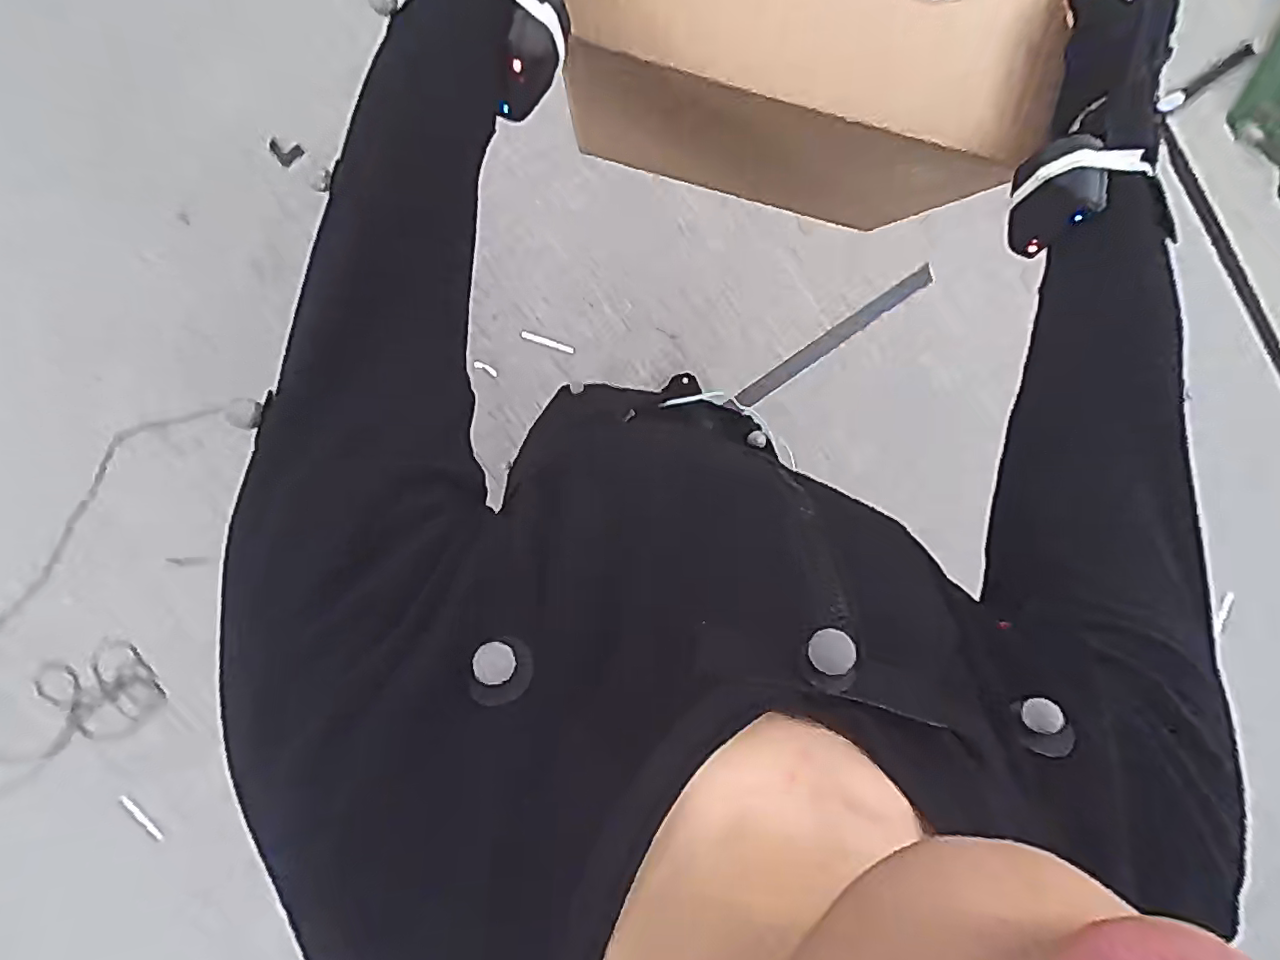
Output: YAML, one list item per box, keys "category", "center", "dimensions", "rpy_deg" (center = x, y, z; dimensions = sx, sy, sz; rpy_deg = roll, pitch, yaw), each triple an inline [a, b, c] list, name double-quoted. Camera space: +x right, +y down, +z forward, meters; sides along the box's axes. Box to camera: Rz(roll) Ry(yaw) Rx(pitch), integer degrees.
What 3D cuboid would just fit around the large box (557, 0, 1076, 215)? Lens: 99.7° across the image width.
- category: "large box"
  center: [0.147, -0.493, 0.534]
  dimensions: [0.408, 0.320, 0.320]
  rpy_deg: [11, 107, -7]
